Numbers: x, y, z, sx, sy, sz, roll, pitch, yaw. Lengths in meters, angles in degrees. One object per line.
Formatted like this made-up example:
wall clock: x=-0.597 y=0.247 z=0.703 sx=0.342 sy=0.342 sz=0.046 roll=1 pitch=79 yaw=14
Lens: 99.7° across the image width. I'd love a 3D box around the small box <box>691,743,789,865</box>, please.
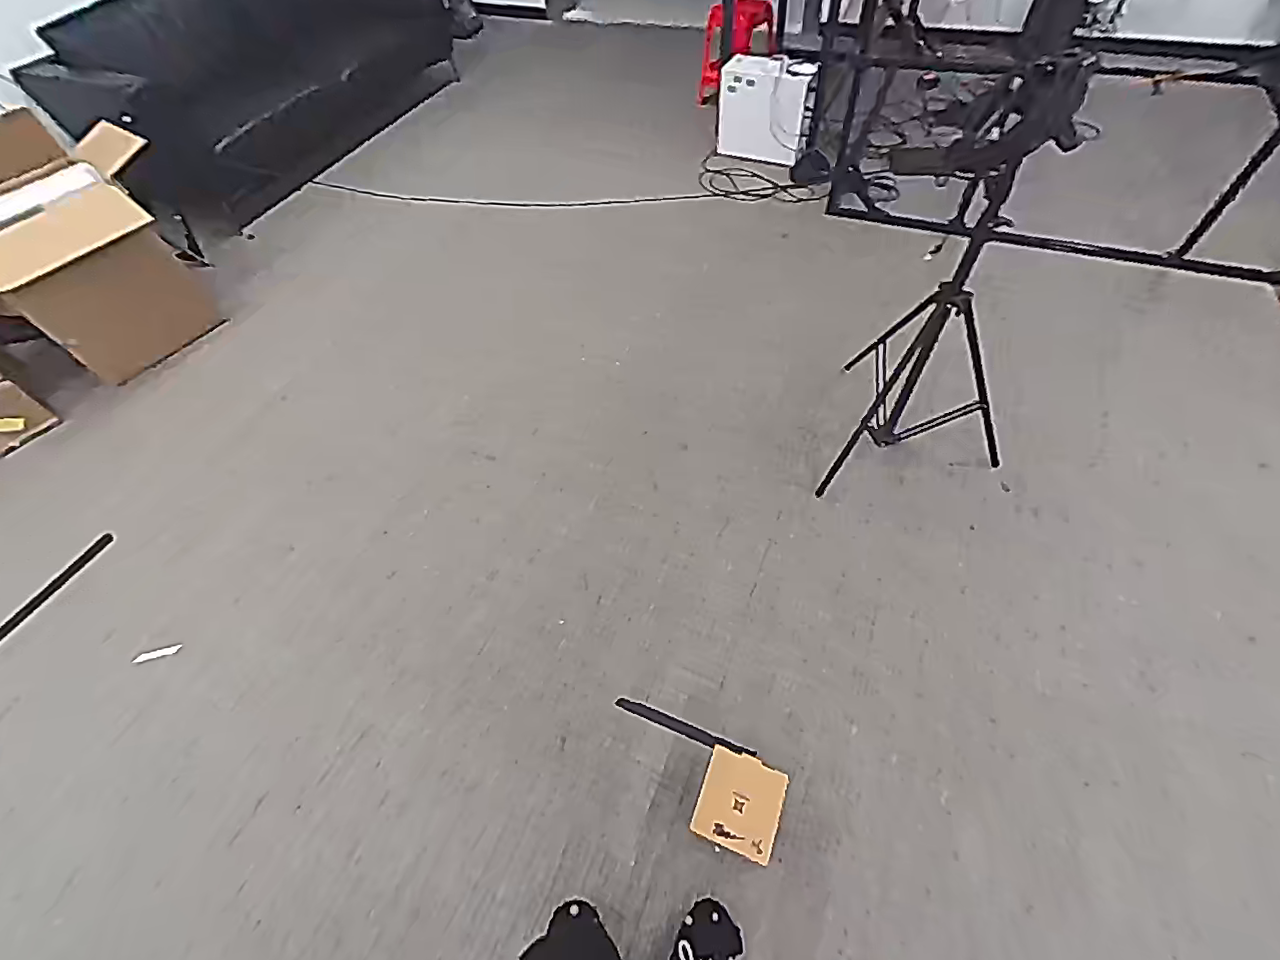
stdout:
small box: x=0.214 y=0.715 z=1.190 sx=0.168 sy=0.176 sz=0.179 roll=17 pitch=57 yaw=15
